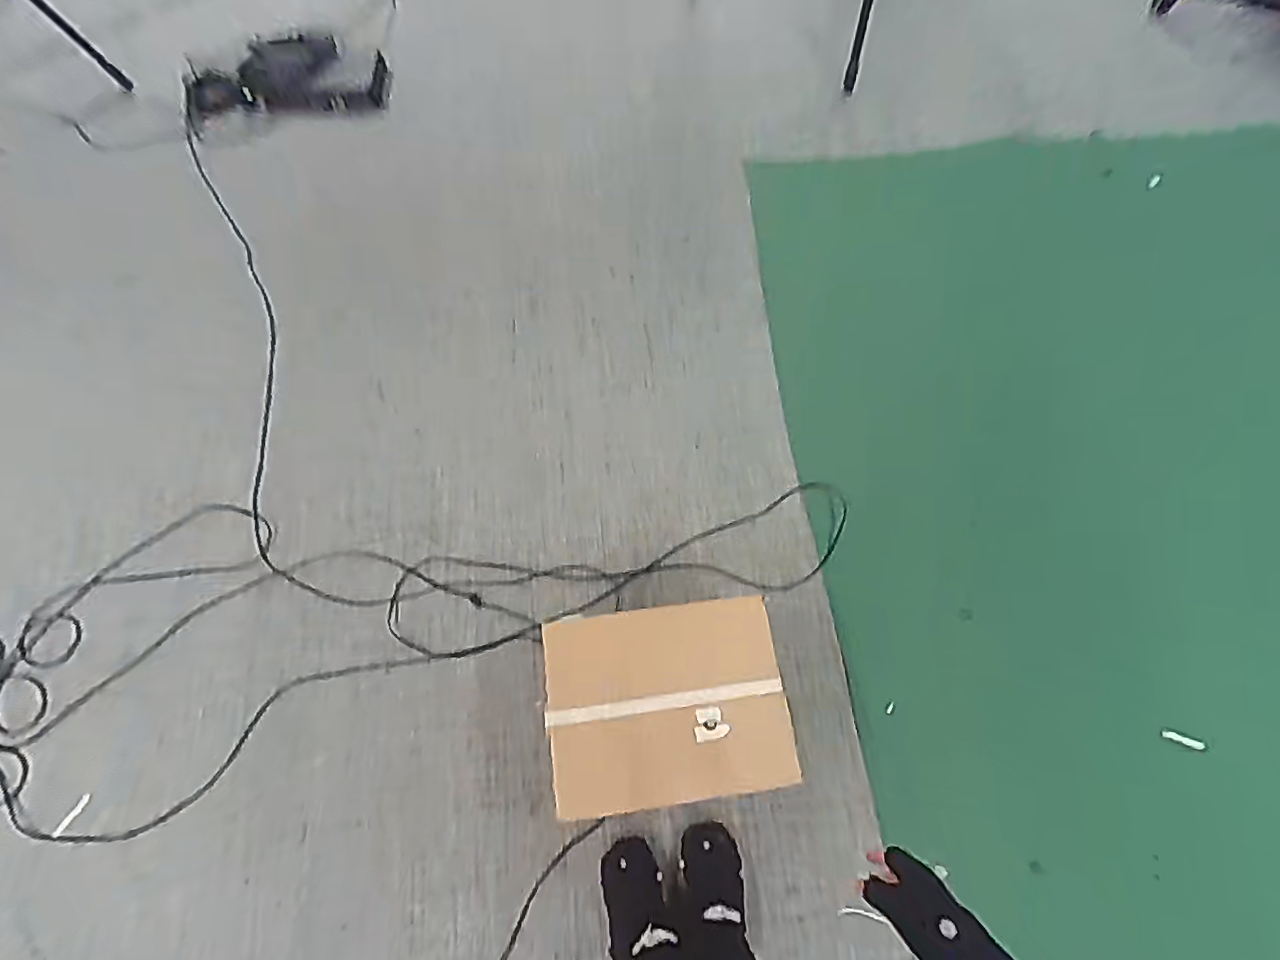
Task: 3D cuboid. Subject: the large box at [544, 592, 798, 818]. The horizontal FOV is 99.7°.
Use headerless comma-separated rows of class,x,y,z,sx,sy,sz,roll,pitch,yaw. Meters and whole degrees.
large box,0.040,0.427,1.069,0.408,0.320,0.320,-7,71,-5
